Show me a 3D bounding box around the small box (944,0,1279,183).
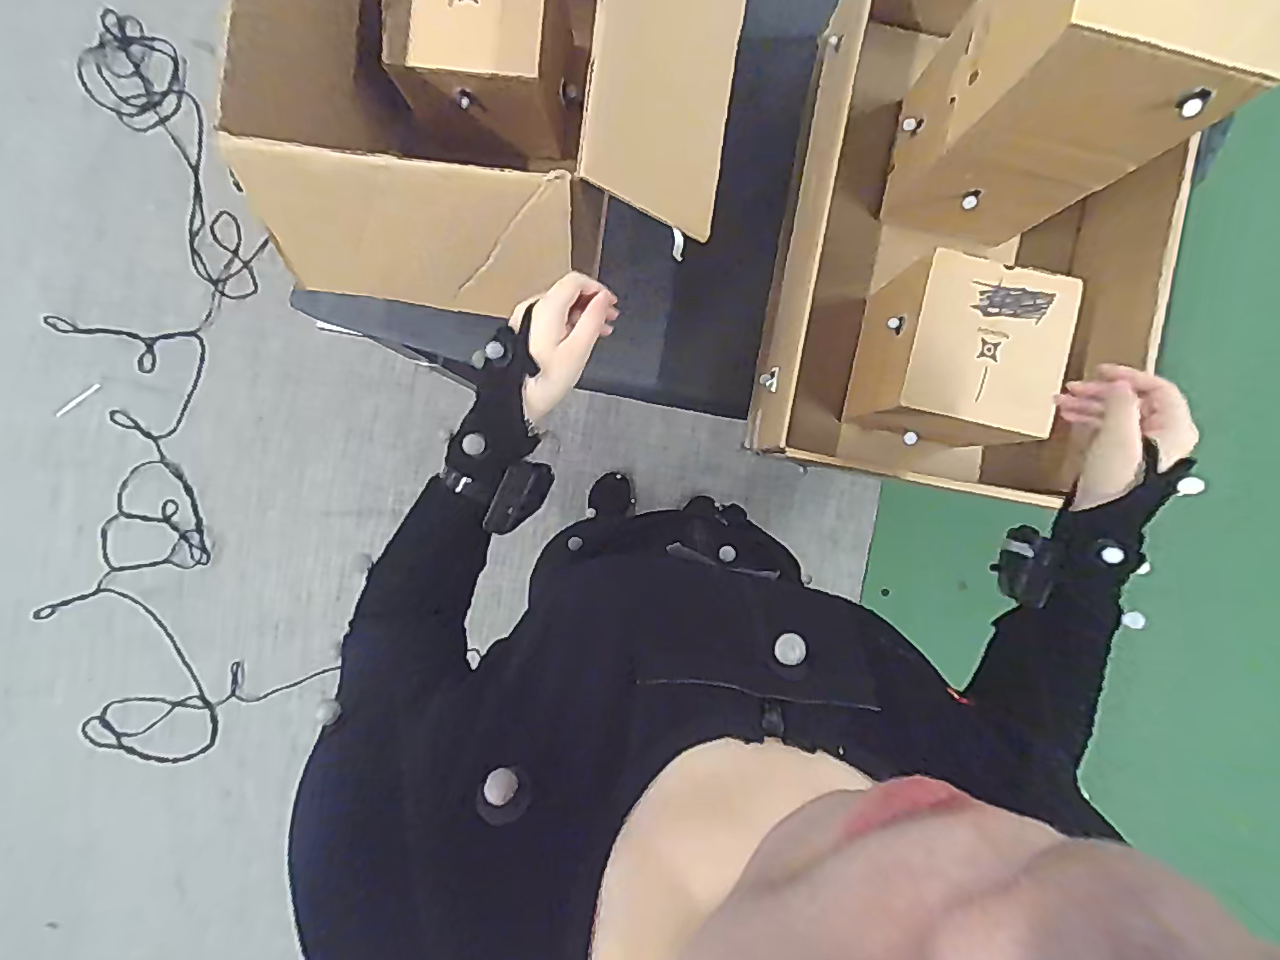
[{"bbox_3d":[0.416,-0.403,0.491,0.179,0.176,0.168,13,92,-2],"label":"small box"}]
